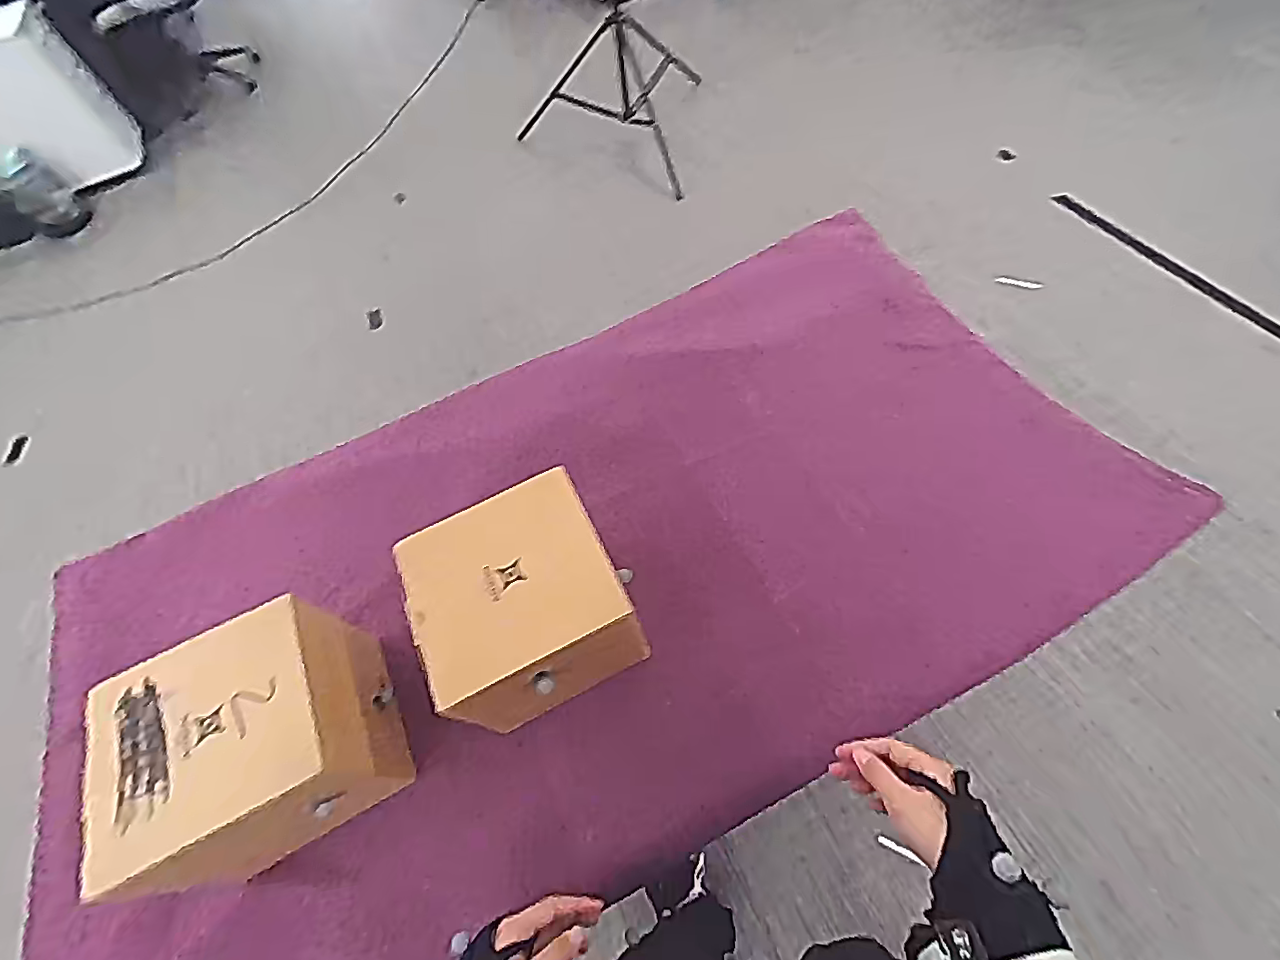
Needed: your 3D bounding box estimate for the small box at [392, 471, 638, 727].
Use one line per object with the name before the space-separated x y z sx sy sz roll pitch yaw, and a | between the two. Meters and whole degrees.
small box | -0.111 0.126 0.545 0.179 0.176 0.168 -27 60 -7
